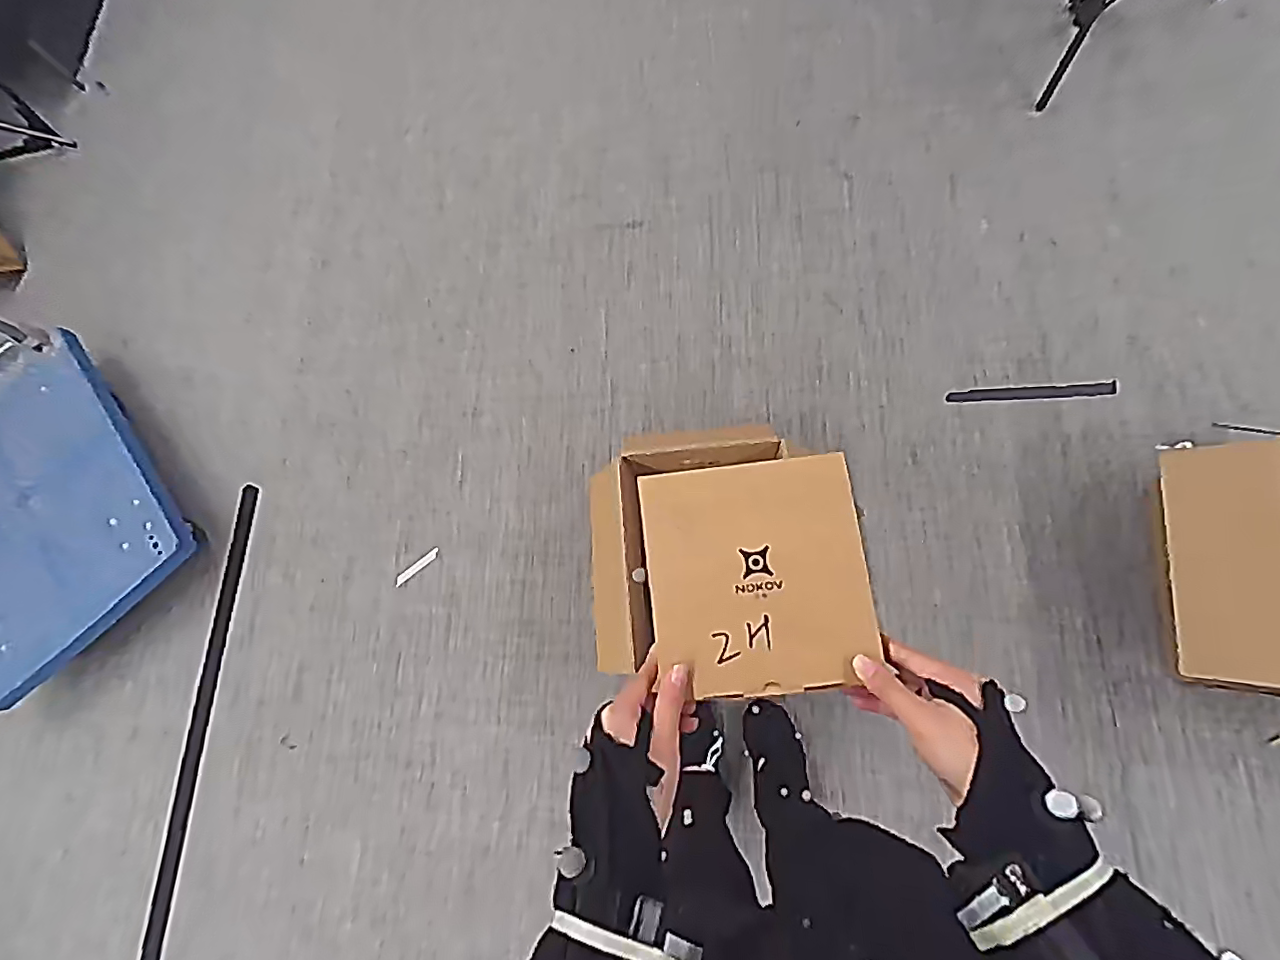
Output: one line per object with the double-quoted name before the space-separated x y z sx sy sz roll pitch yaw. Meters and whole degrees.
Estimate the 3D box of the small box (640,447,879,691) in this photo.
"small box" 0.092 0.083 0.494 0.168 0.176 0.179 -7 78 4
